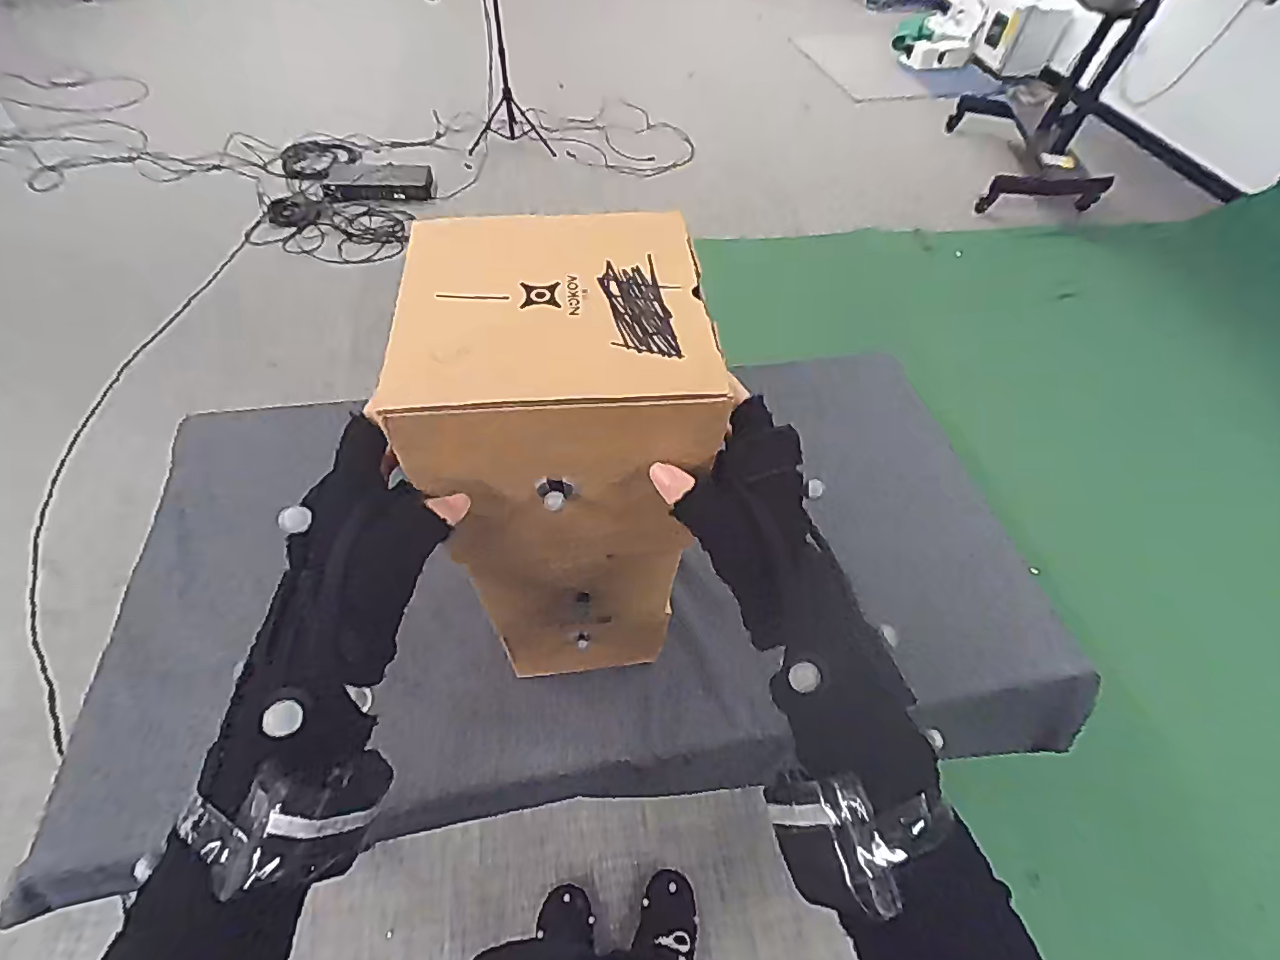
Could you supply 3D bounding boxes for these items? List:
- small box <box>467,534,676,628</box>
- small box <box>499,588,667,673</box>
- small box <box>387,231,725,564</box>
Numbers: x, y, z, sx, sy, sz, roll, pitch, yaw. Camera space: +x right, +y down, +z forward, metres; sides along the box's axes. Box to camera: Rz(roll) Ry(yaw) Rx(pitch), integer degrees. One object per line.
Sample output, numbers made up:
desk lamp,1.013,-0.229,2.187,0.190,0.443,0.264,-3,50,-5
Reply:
small box,-0.065,0.034,0.527,0.168,0.176,0.179,-4,56,-7
small box,-0.071,0.126,0.662,0.179,0.176,0.168,-4,56,-8
small box,-0.053,-0.052,0.387,0.179,0.176,0.168,-4,55,-6
